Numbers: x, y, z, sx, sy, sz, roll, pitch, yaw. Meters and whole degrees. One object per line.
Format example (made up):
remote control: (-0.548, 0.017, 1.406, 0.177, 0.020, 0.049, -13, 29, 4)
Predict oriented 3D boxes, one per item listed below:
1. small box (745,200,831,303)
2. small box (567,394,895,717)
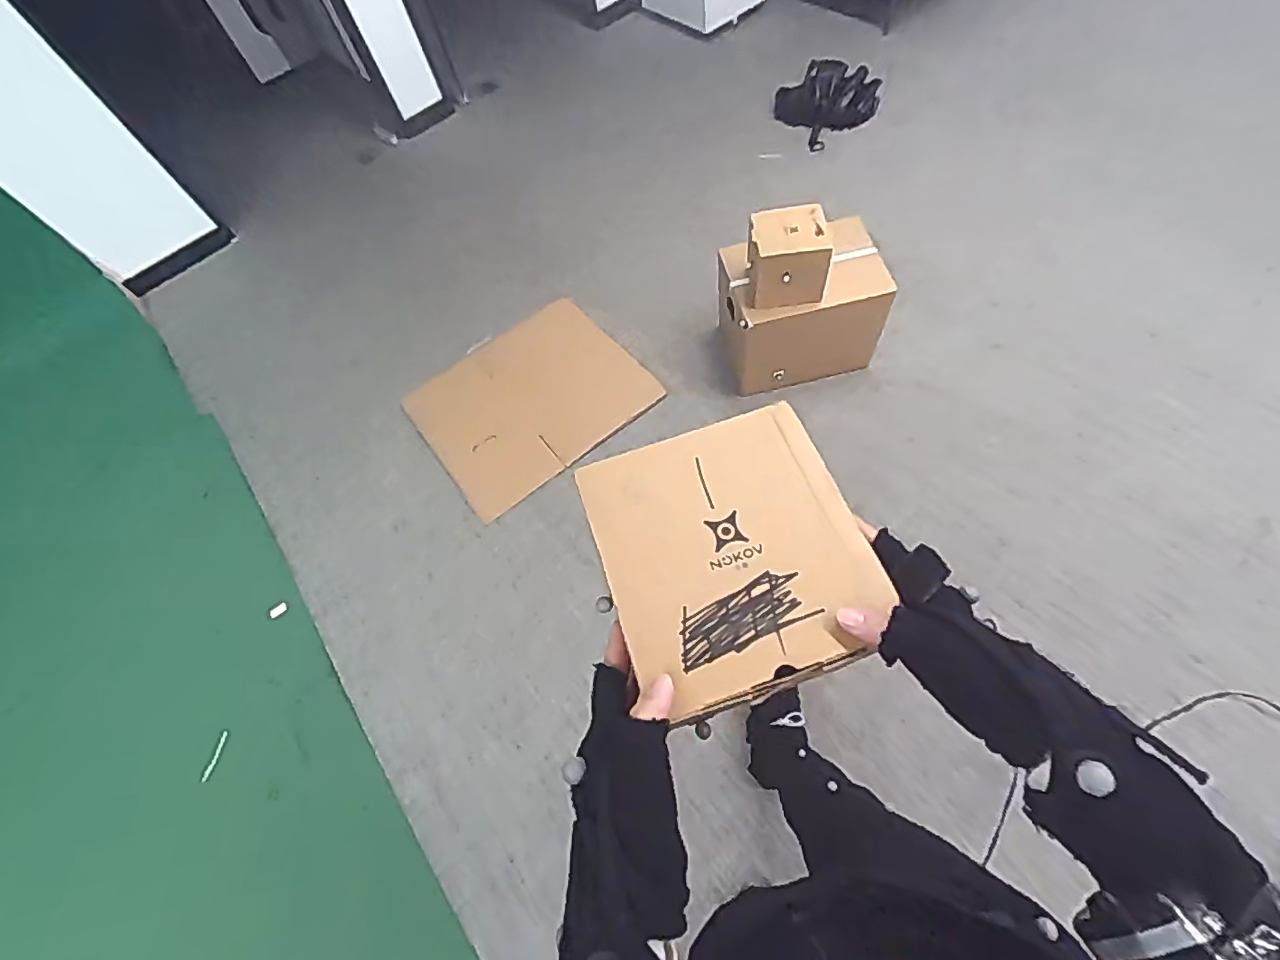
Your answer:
small box: (0.371, -0.577, 1.387, 0.179, 0.176, 0.168, -9, 60, 4)
small box: (0.060, 0.068, 0.432, 0.168, 0.176, 0.179, -22, 67, -5)
